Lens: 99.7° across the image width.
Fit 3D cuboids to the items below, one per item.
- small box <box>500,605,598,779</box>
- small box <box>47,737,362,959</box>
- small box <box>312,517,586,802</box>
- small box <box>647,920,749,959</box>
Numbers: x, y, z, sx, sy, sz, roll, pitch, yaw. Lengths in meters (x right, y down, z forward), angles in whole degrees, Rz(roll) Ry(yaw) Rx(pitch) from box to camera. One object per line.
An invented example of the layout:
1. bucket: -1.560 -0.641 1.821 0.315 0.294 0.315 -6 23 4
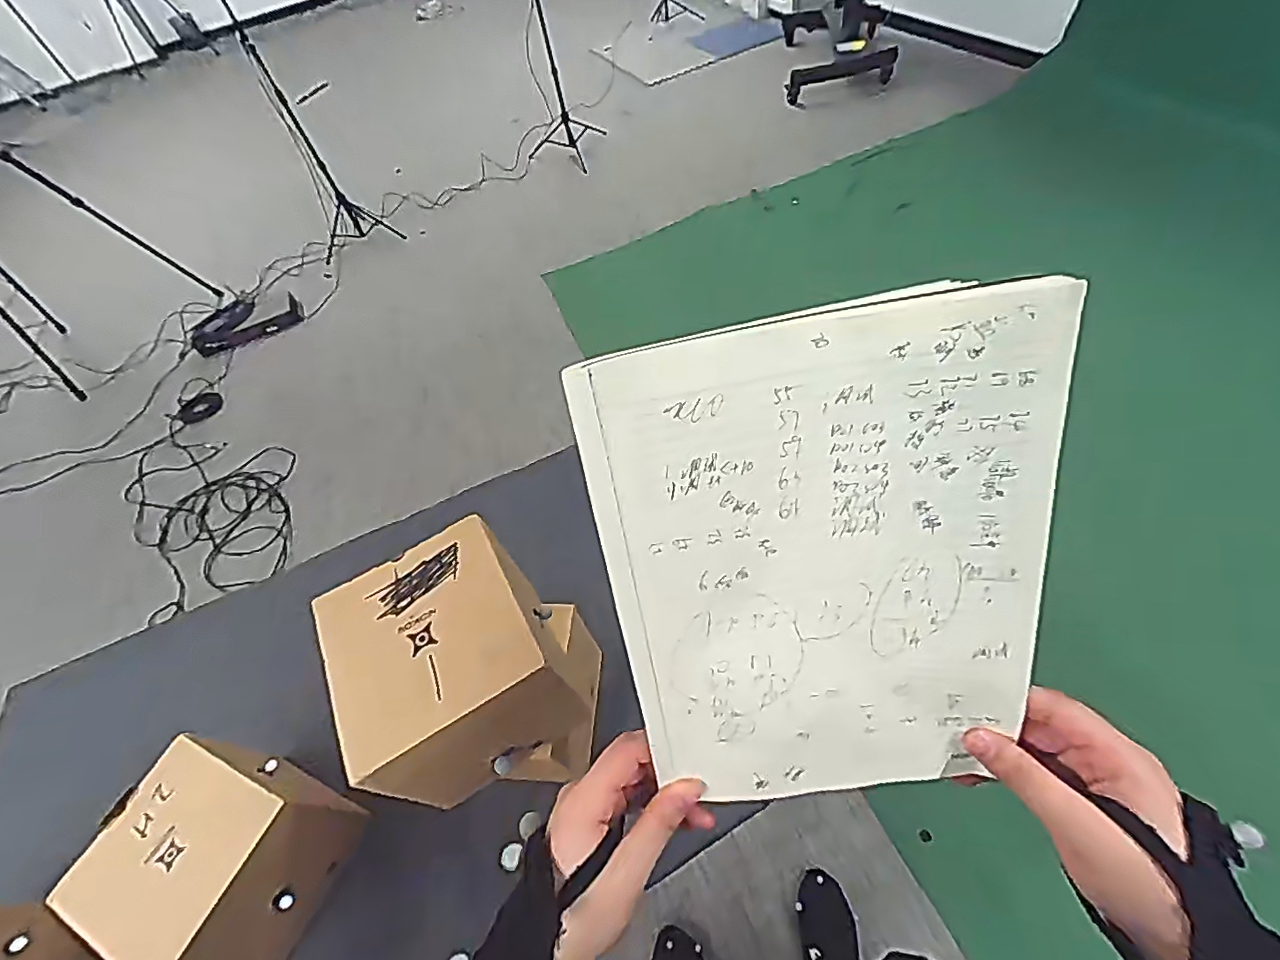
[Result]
1. small box: -0.156 0.259 0.658 0.179 0.176 0.168 -3 54 10
2. small box: -0.457 0.416 0.601 0.179 0.176 0.168 15 58 20
3. small box: -0.173 0.175 0.517 0.168 0.176 0.179 -30 55 -10
4. small box: 0.108 0.961 0.990 0.176 0.168 0.179 36 38 -1
